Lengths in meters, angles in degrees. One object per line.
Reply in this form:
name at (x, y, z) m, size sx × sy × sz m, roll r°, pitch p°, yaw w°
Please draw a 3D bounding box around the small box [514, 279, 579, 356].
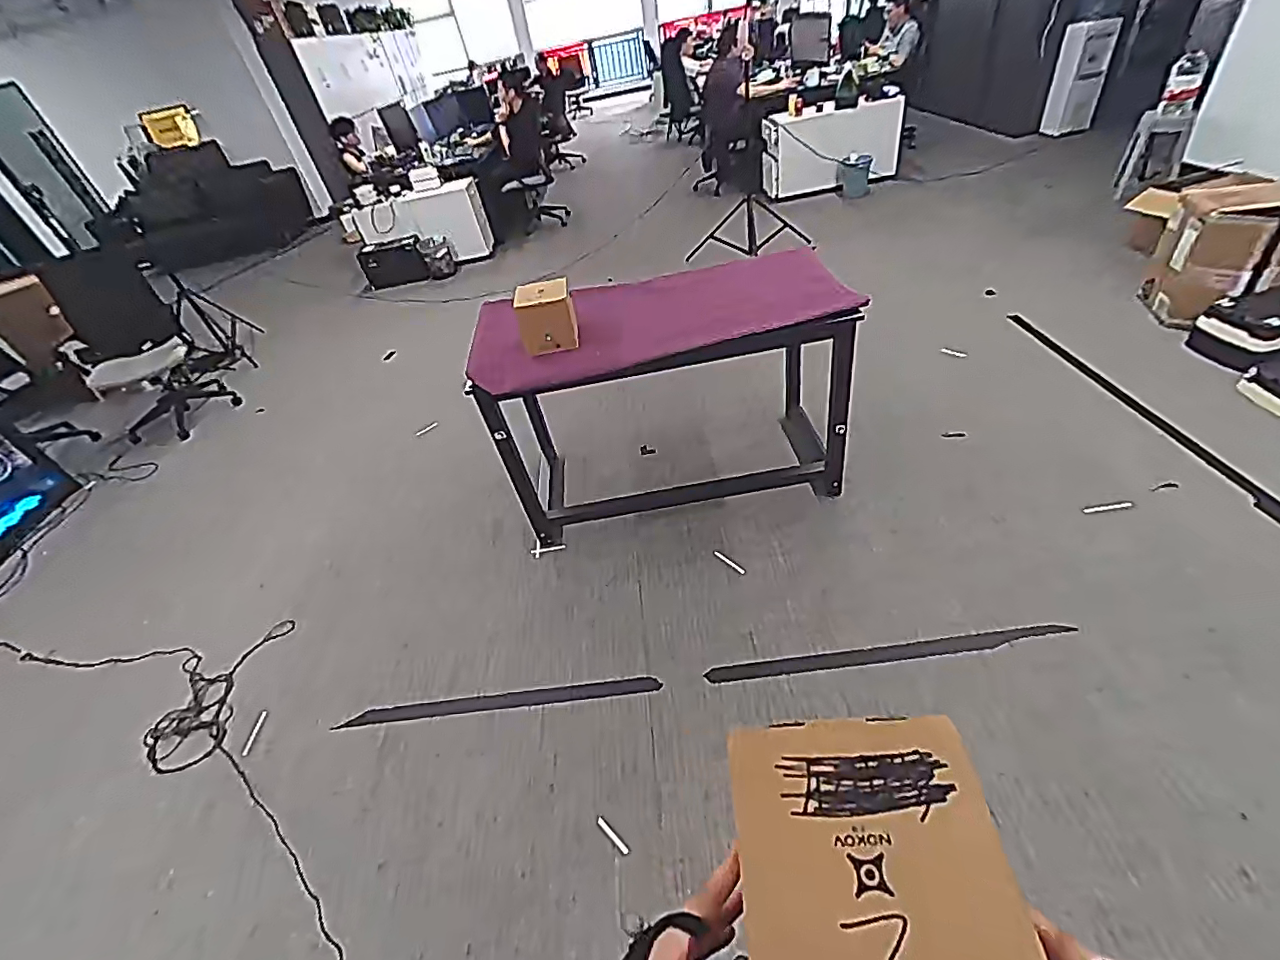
small box at (-0.295, -0.519, 1.732) m, size 0.168 × 0.176 × 0.179 m, roll -11°, pitch 41°, yaw 1°
